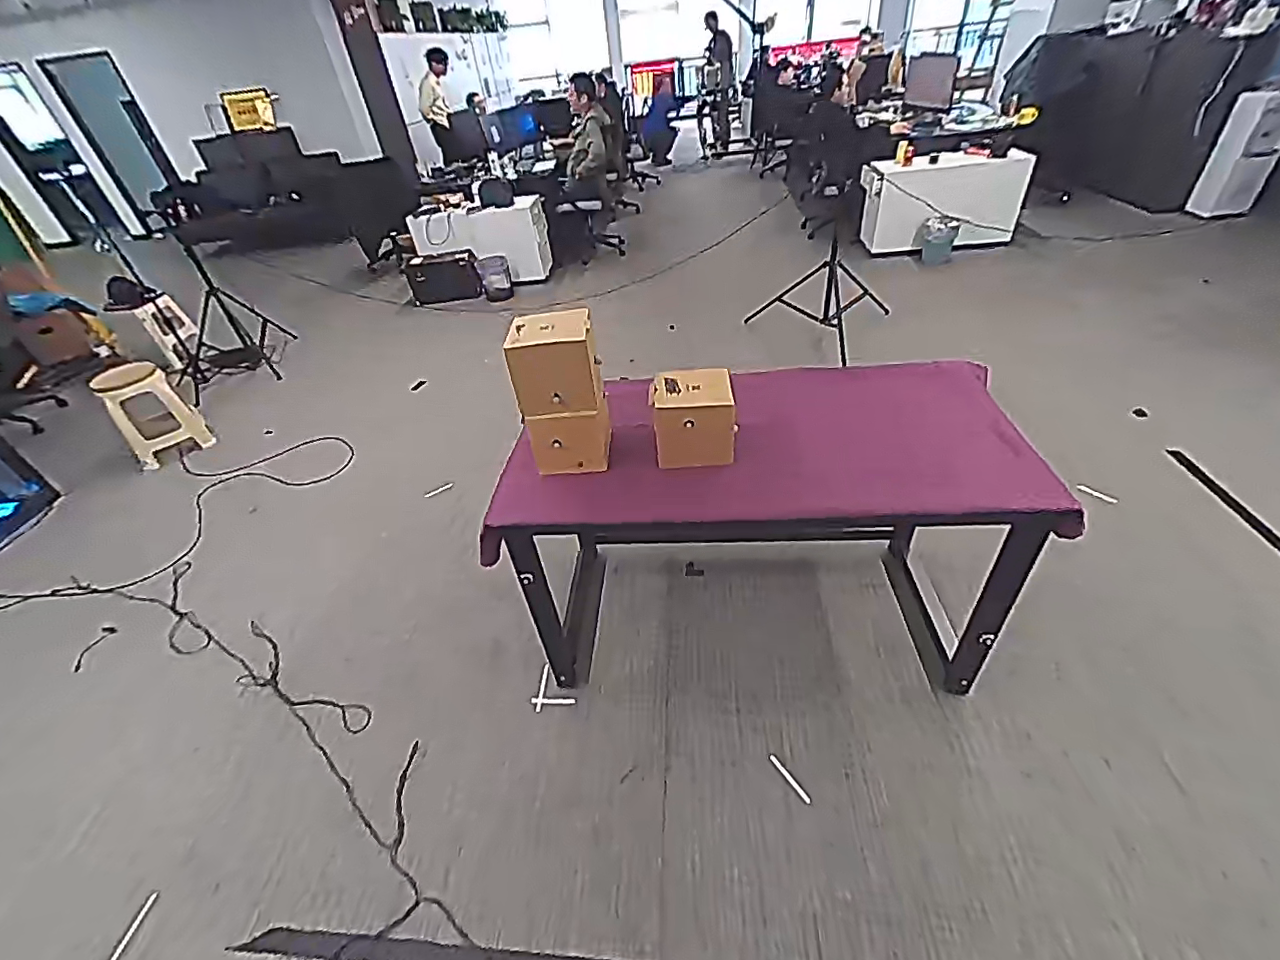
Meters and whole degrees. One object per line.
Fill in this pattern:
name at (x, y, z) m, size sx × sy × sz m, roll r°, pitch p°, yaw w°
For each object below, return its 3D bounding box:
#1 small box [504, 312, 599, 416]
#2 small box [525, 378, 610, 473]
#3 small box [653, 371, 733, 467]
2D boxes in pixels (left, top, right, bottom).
small box at (-0.189, -0.259, 1.215) m, size 0.179 × 0.176 × 0.168 m, roll -5°, pitch 38°, yaw 2°
small box at (-0.167, -0.128, 1.311) m, size 0.168 × 0.176 × 0.179 m, roll -4°, pitch 38°, yaw 4°
small box at (0.126, -0.142, 1.280) m, size 0.179 × 0.176 × 0.168 m, roll -3°, pitch 39°, yaw 5°
